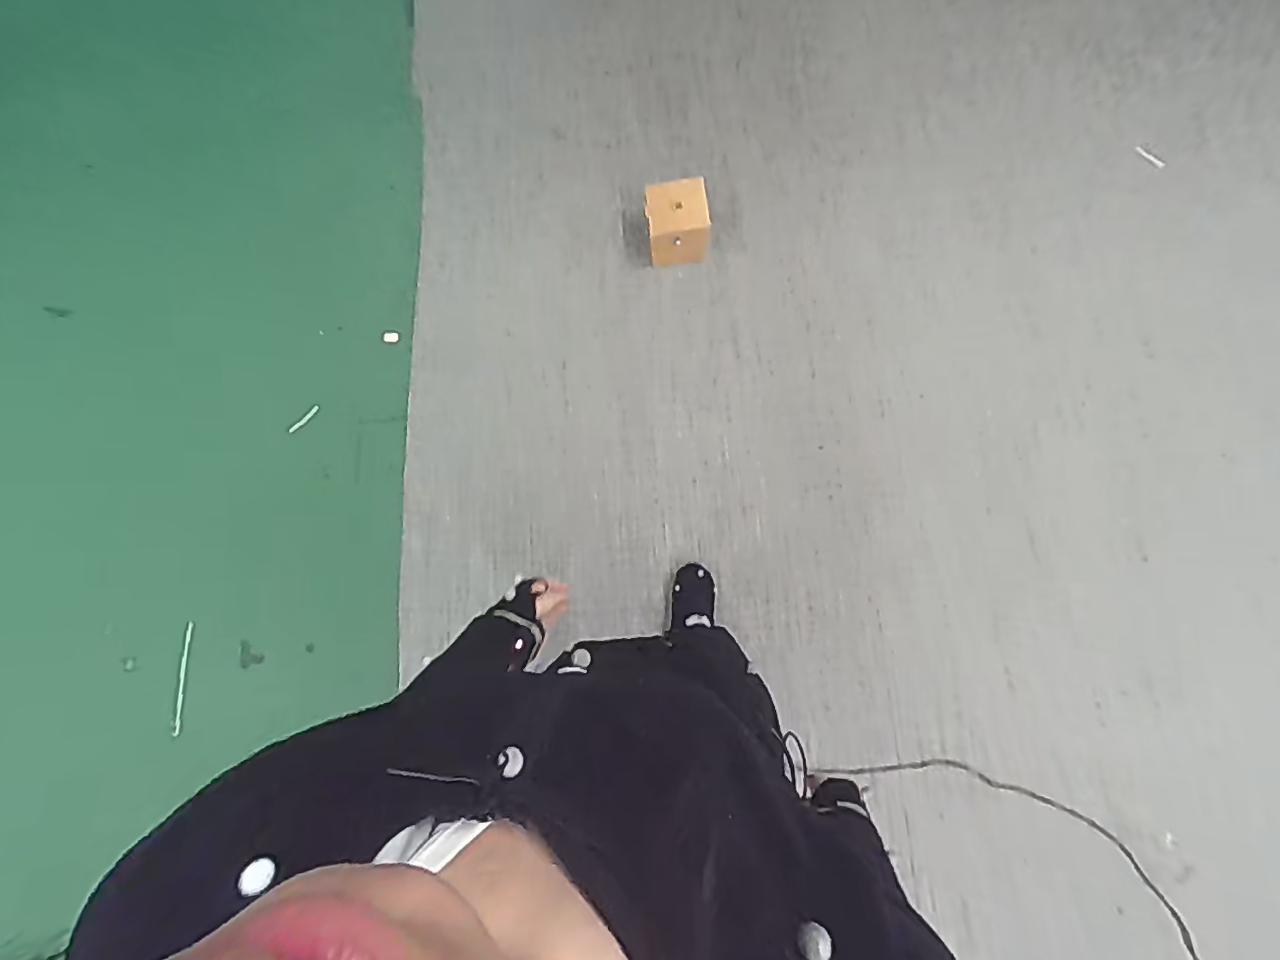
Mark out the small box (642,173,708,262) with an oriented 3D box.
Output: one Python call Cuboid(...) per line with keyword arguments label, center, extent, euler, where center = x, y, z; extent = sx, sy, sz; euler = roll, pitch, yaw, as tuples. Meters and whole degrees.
Cuboid(label="small box", center=(0.104, -0.782, 1.623), extent=(0.179, 0.176, 0.168), euler=(-7, 80, 4))
